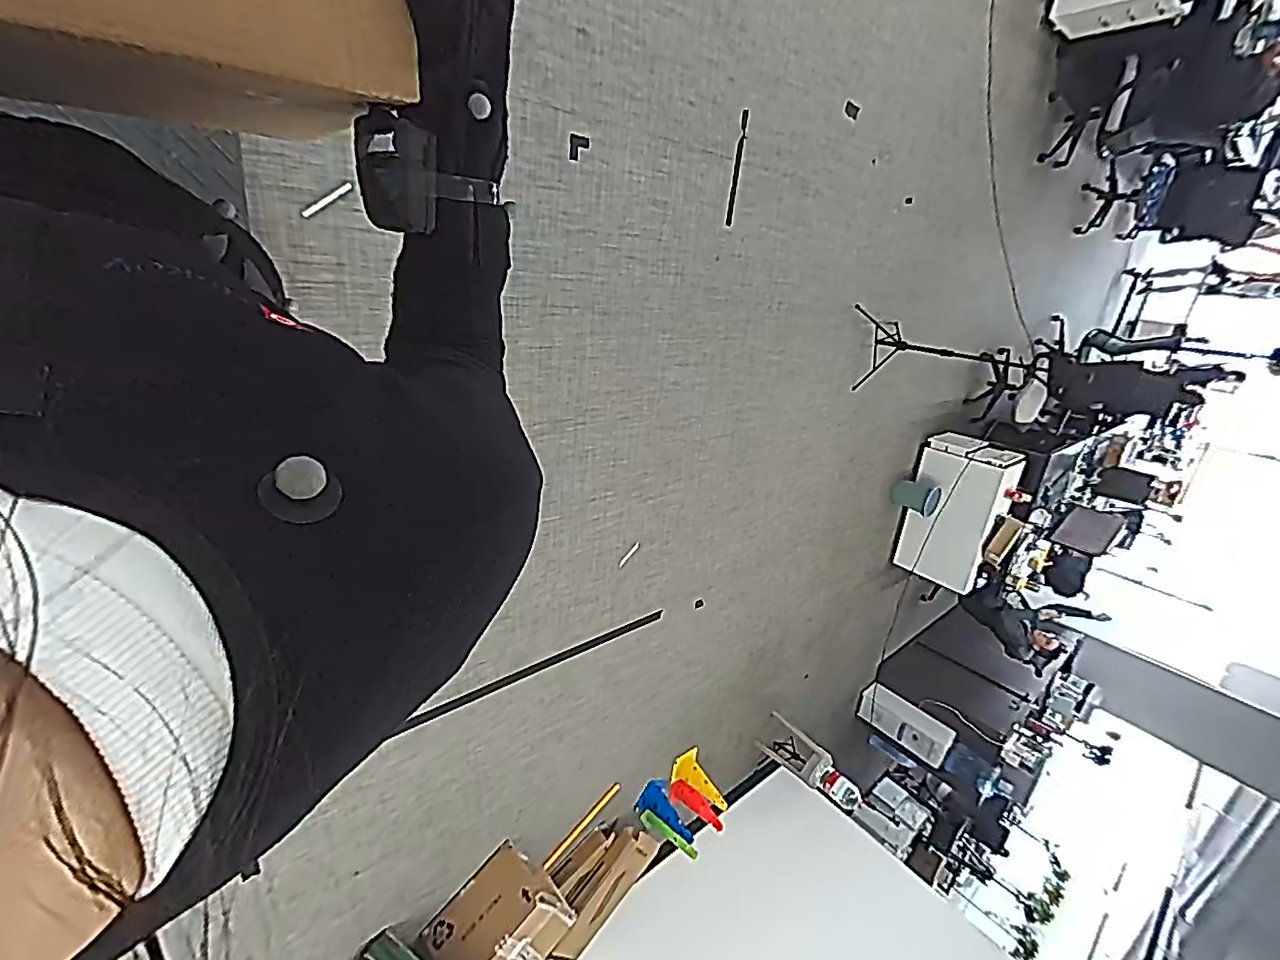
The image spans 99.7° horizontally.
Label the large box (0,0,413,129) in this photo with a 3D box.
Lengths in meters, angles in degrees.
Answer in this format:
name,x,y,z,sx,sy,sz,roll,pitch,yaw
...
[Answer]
name,x,y,z,sx,sy,sz,roll,pitch,yaw
large box,-0.373,-0.380,0.246,0.408,0.320,0.320,-16,122,-36
